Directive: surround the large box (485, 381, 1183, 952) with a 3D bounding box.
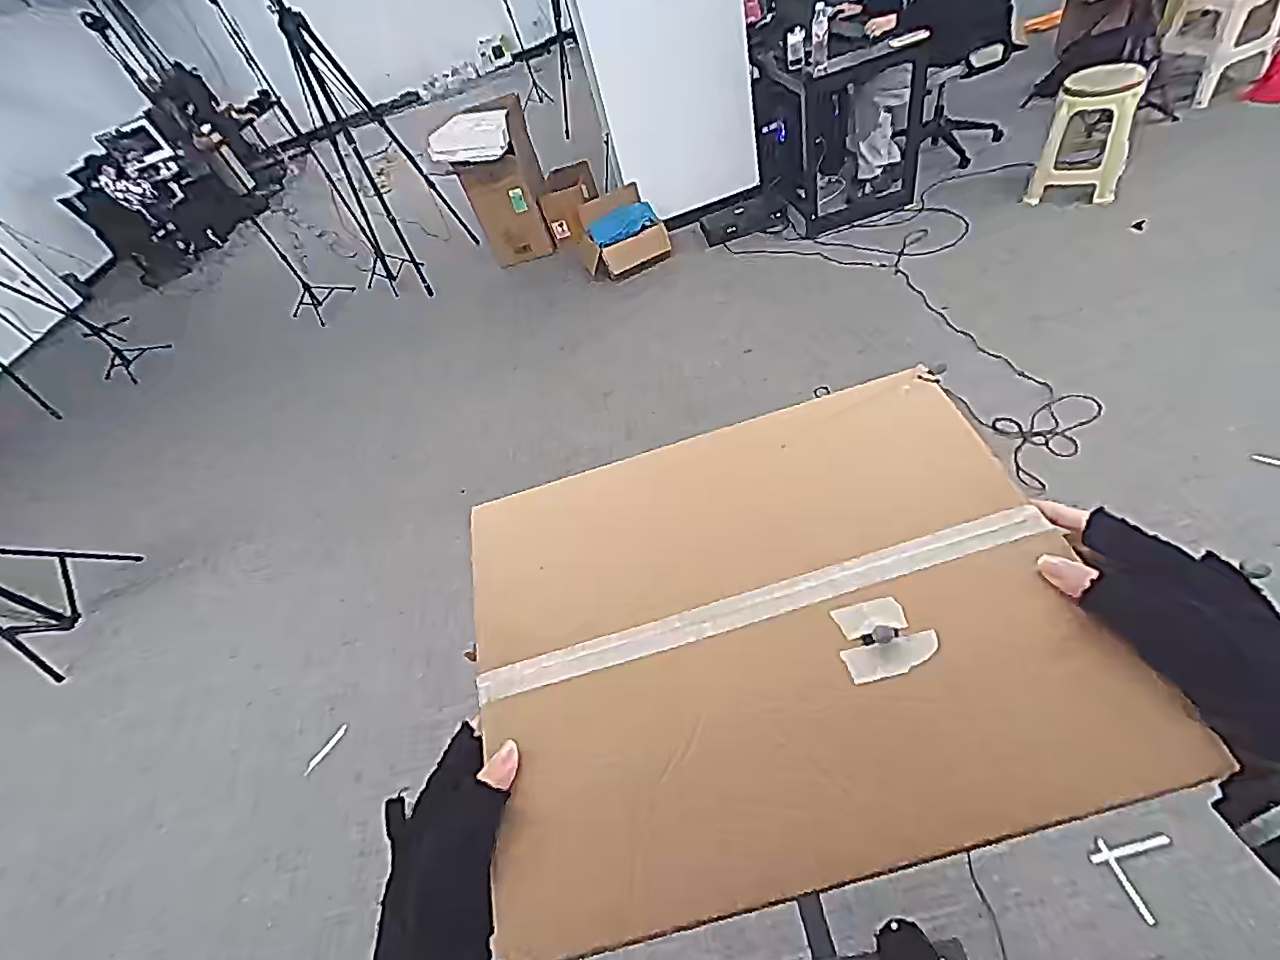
[{"bbox_3d":[0.113,0.173,0.514,0.408,0.320,0.320,-18,56,2],"label":"large box"}]
